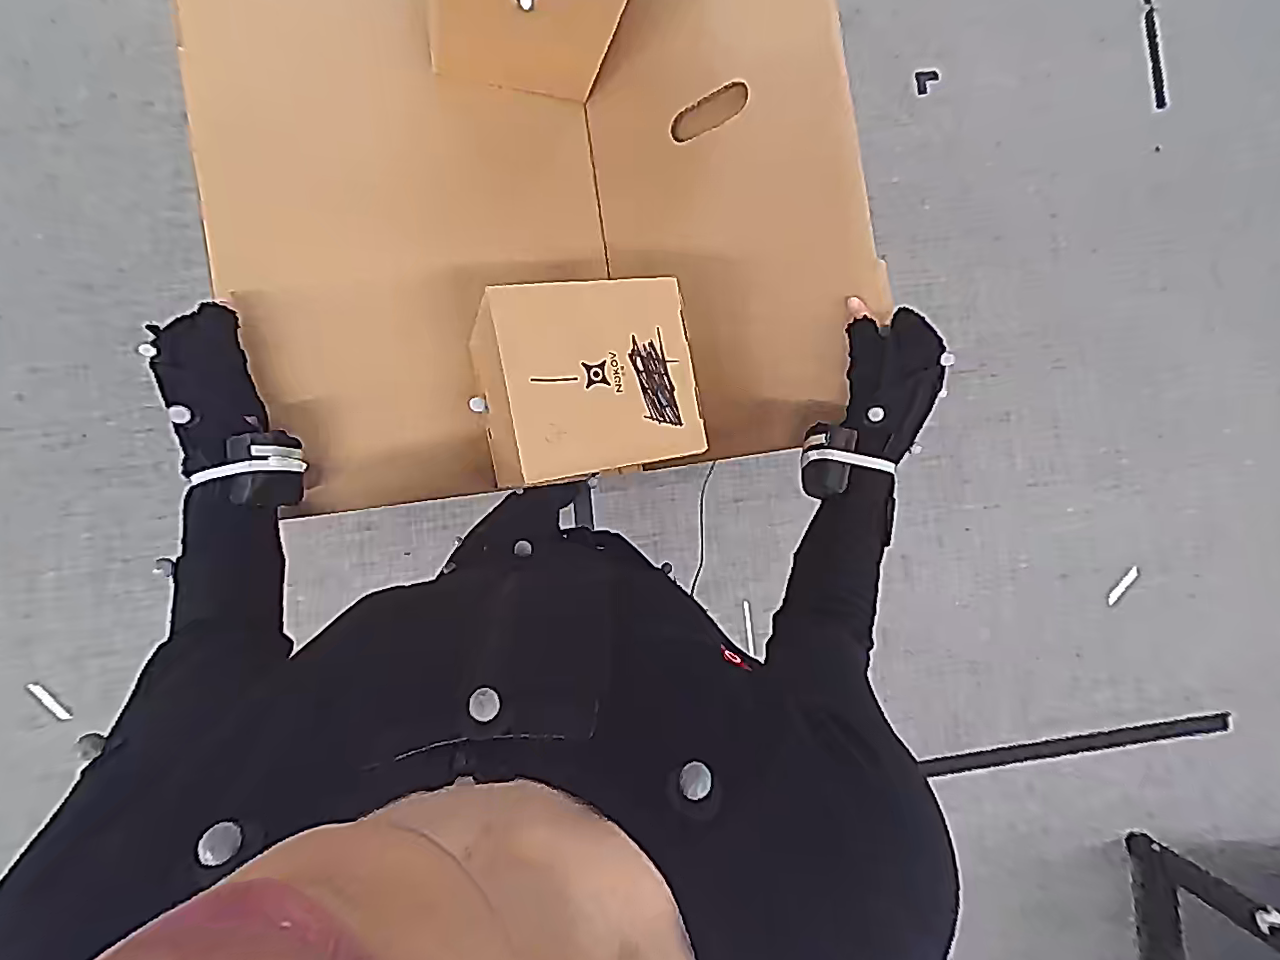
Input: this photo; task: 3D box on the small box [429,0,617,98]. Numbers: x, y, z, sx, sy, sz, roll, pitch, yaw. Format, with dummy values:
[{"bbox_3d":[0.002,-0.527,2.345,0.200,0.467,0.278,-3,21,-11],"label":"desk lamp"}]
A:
[{"bbox_3d":[-0.123,-0.534,0.550,0.179,0.176,0.168,-5,89,-23],"label":"small box"}]
